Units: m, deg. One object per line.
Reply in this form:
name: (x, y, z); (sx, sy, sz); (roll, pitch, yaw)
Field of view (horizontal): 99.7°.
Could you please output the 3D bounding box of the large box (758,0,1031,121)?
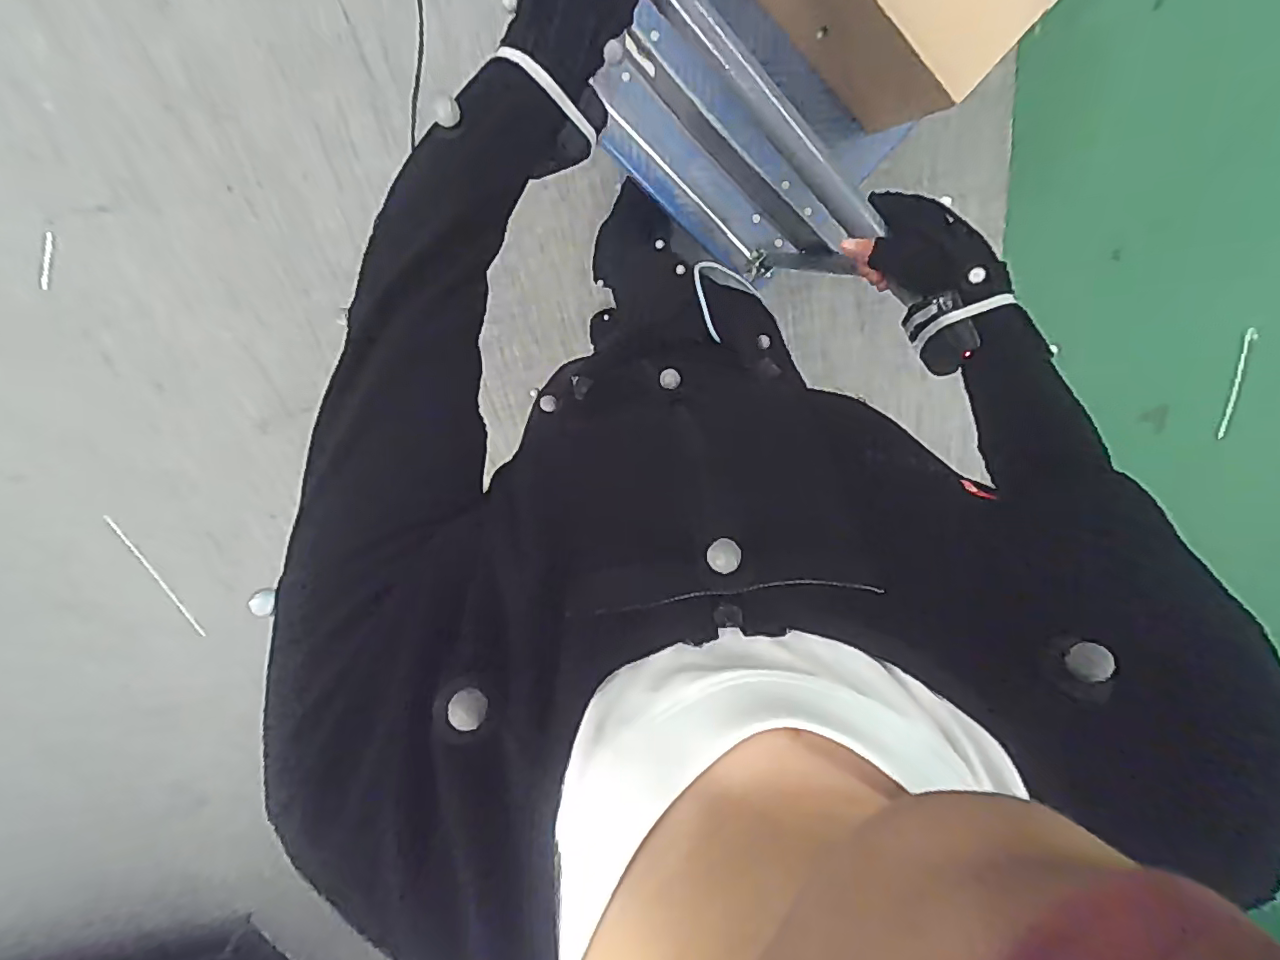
large box: (0.385, -0.834, 0.805); (0.408, 0.320, 0.320); (36, 110, -17)
